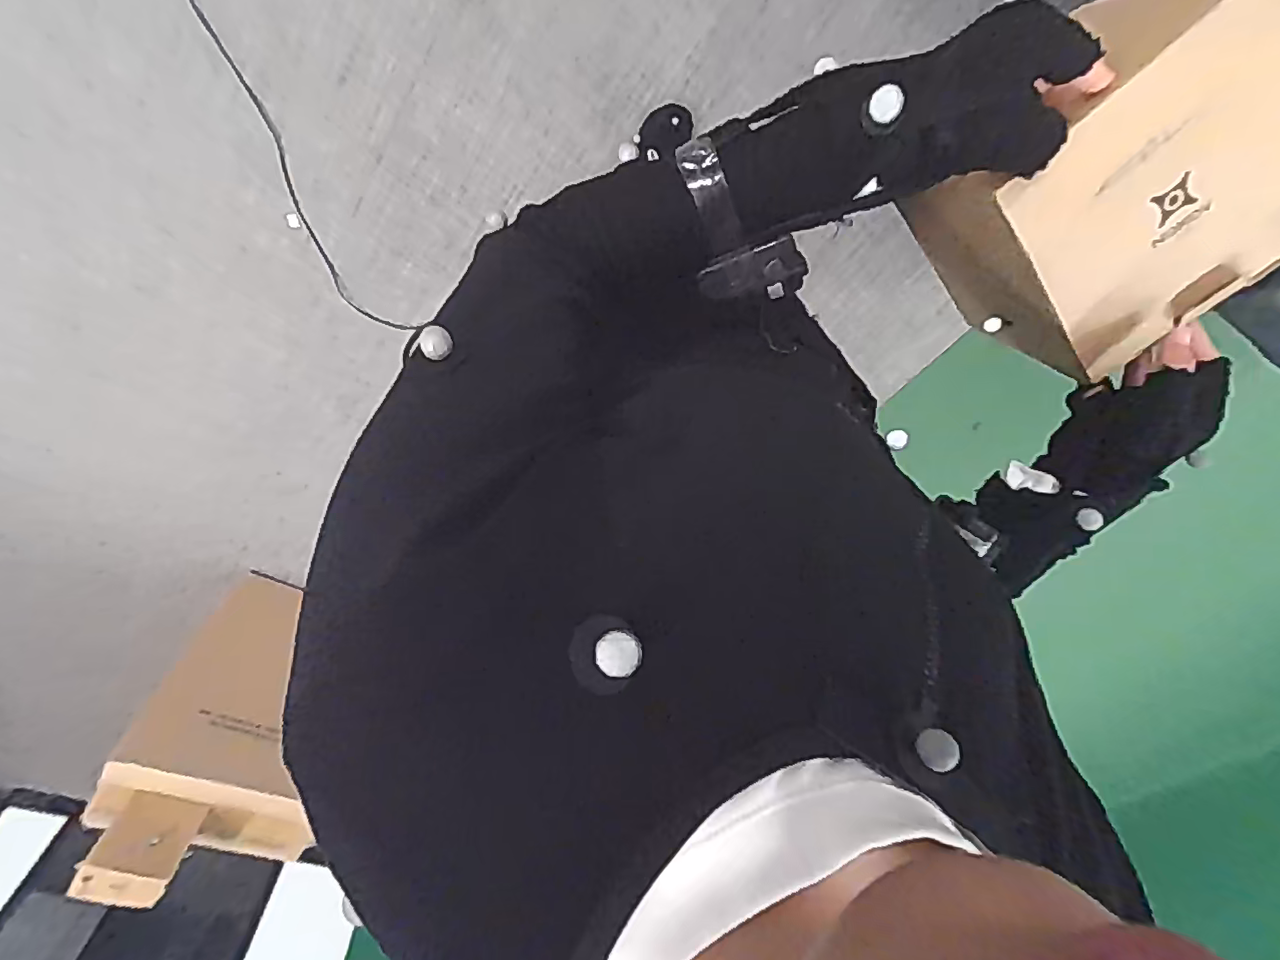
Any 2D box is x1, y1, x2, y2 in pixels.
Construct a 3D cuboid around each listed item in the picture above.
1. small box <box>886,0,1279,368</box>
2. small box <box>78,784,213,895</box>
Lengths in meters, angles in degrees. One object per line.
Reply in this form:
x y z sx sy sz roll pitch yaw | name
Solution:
0.327 -0.222 0.406 0.168 0.176 0.179 -41 115 18 | small box
-1.208 0.884 1.335 0.179 0.176 0.168 30 114 -24 | small box
